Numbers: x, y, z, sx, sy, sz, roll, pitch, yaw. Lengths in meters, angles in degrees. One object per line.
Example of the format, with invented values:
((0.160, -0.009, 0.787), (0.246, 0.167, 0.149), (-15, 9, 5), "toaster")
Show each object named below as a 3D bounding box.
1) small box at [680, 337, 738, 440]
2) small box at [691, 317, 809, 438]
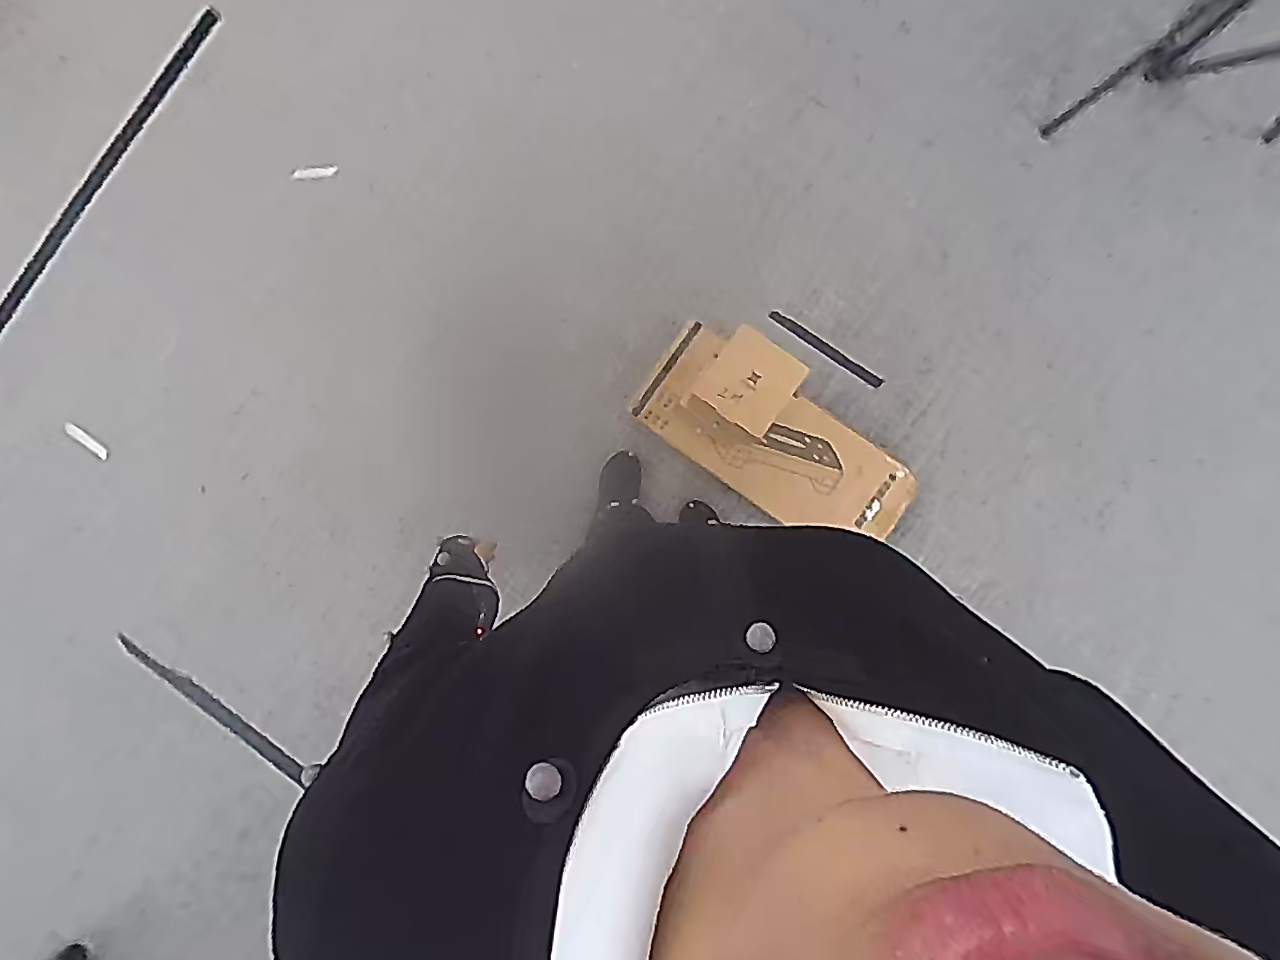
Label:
((0.206, -0.213, 1.311), (0.168, 0.176, 0.179), (35, 92, 1), "small box")
((0.221, -0.207, 1.146), (0.168, 0.176, 0.179), (36, 91, 1), "small box")
